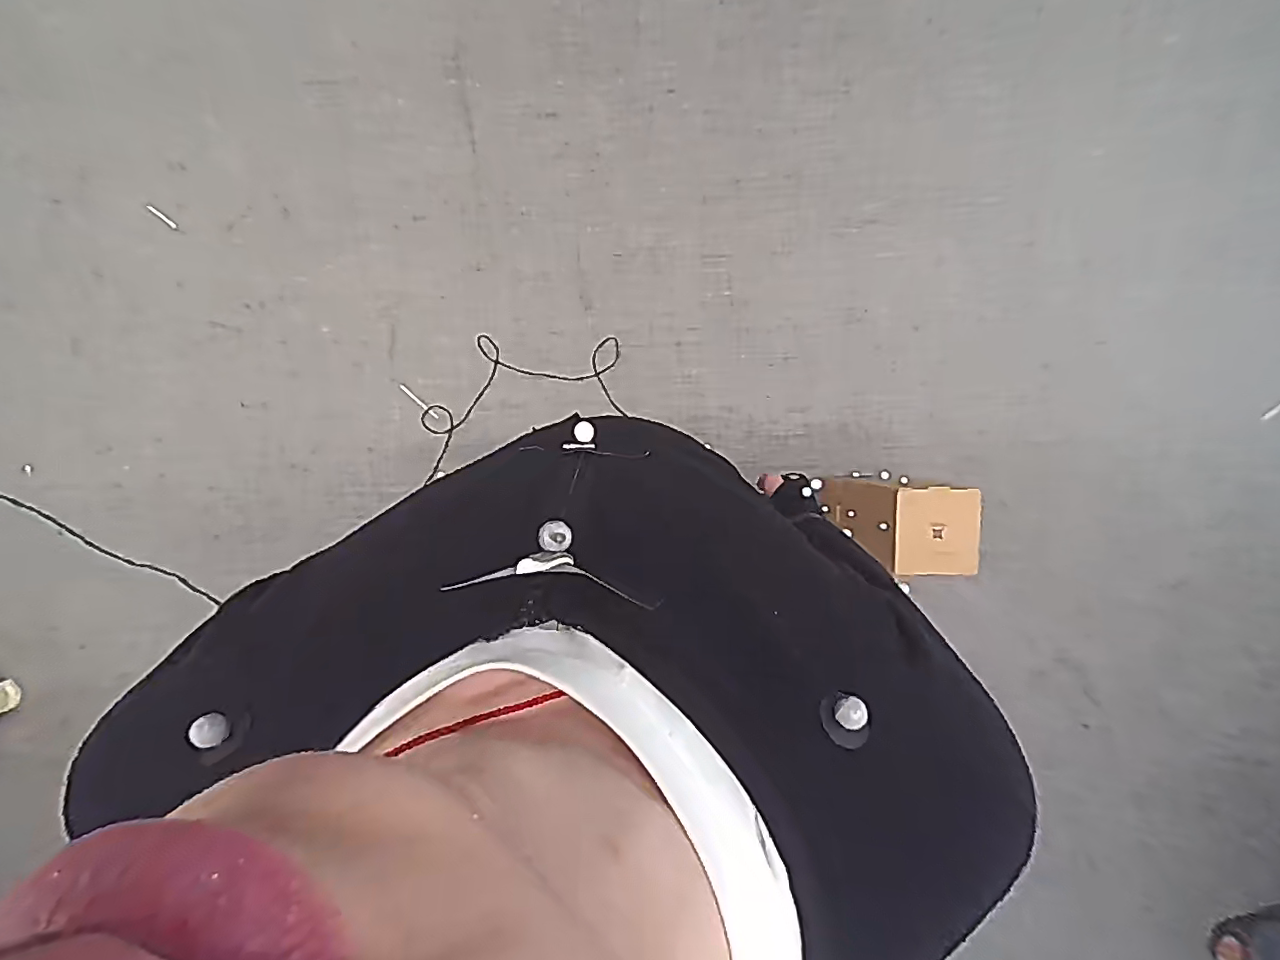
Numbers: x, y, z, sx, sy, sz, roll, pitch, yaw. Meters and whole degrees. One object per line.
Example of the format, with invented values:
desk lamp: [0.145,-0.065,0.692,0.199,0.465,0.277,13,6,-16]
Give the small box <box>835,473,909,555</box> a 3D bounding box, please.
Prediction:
small box: [0.594,0.080,1.331,0.168,0.176,0.179,1,96,-2]

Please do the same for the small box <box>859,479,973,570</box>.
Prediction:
small box: [0.588,0.089,1.172,0.168,0.176,0.179,-1,97,1]

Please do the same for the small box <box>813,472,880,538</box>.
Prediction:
small box: [0.593,0.067,1.517,0.179,0.176,0.168,-3,95,-1]
